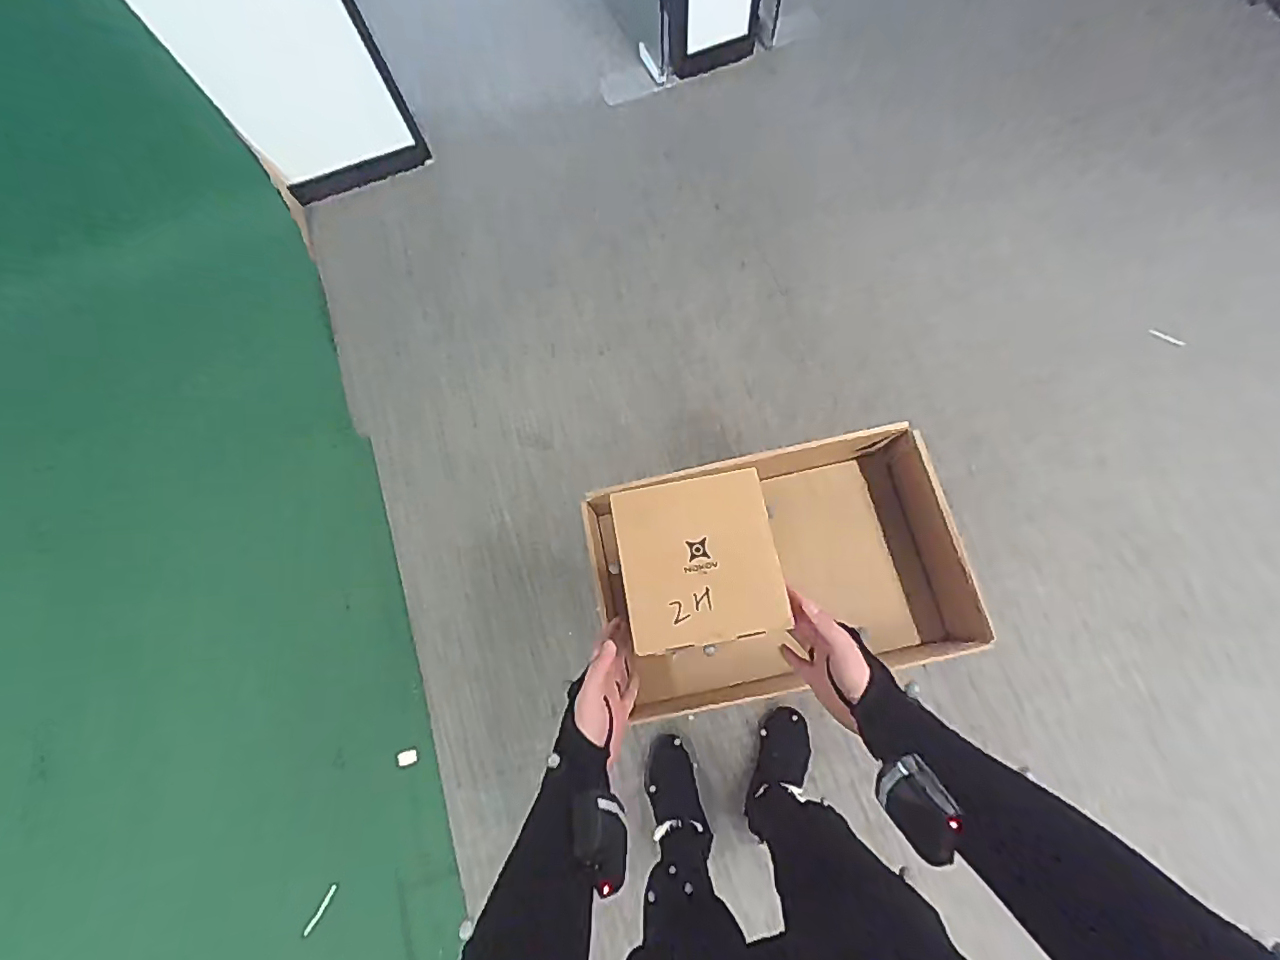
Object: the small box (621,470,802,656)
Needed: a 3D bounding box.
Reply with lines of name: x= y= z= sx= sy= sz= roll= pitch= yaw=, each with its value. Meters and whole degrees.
small box: x=0.073 y=0.103 z=0.638 sx=0.168 sy=0.176 sz=0.179 roll=-10 pitch=76 yaw=1
